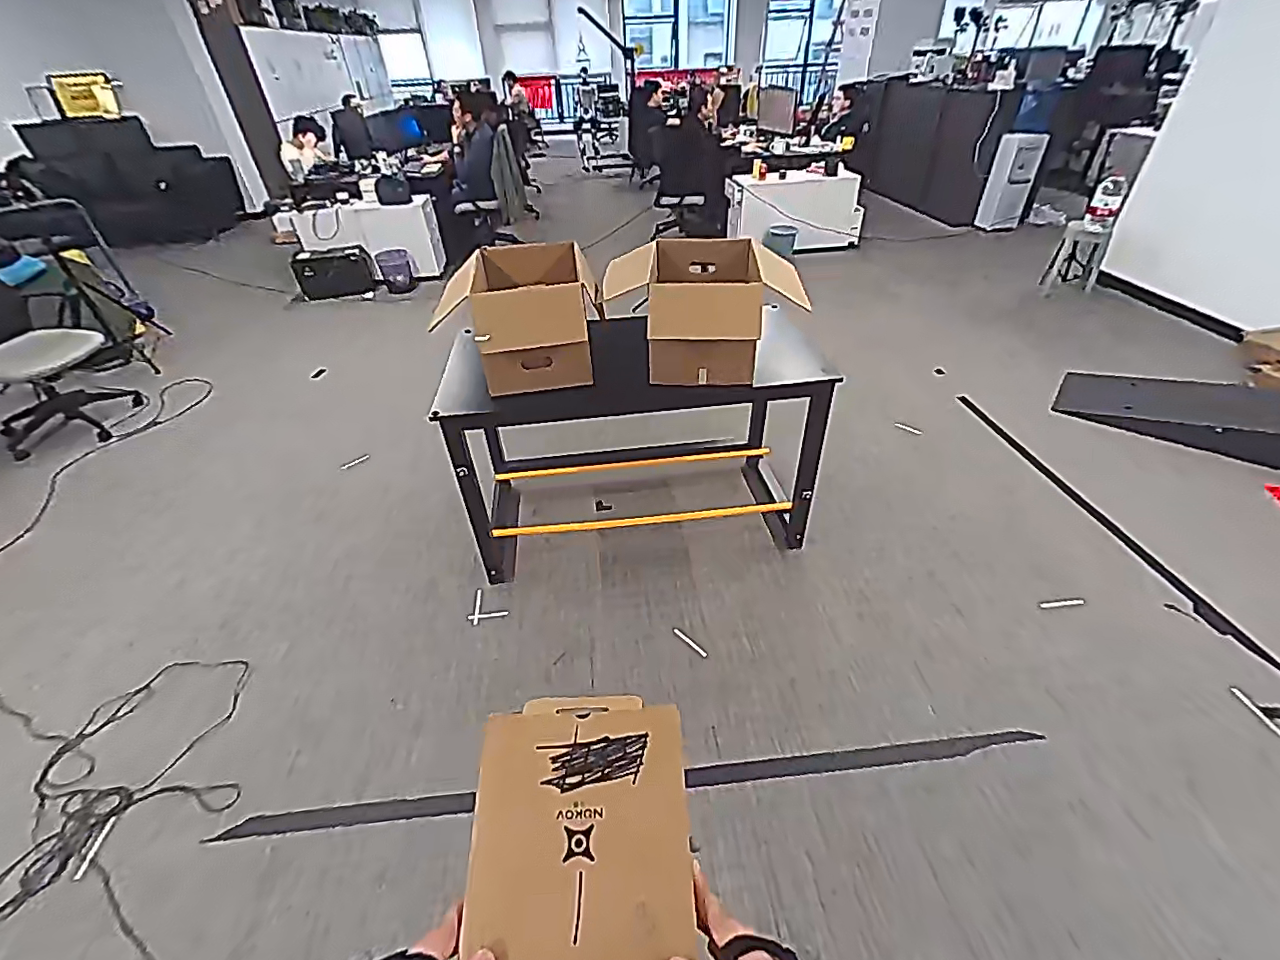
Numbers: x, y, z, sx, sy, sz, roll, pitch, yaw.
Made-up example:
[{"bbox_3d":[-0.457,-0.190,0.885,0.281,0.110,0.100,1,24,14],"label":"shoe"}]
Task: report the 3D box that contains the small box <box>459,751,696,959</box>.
[{"bbox_3d":[-0.045,0.347,0.461,0.168,0.176,0.179,-2,53,-2],"label":"small box"}]
